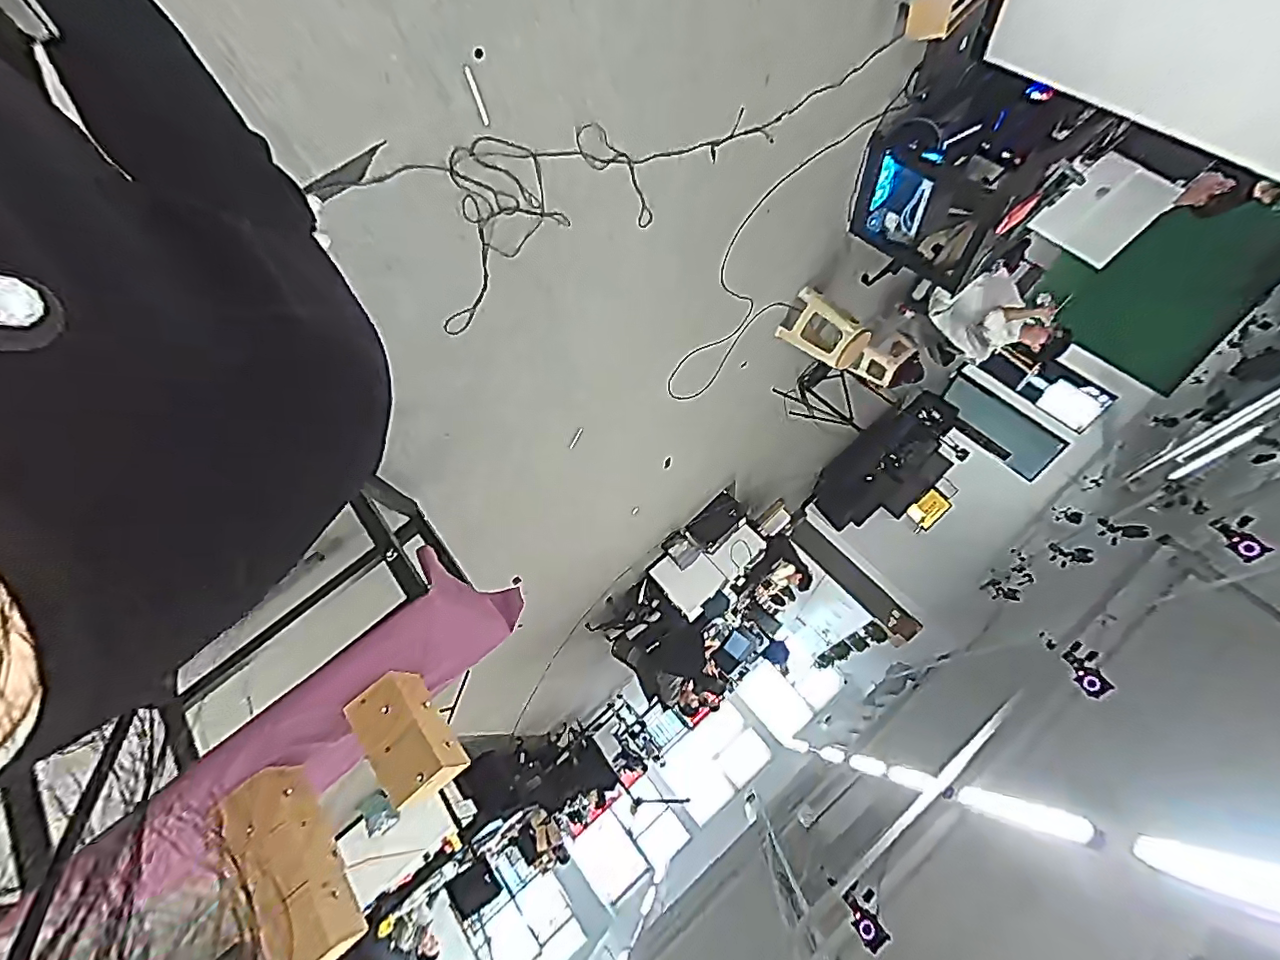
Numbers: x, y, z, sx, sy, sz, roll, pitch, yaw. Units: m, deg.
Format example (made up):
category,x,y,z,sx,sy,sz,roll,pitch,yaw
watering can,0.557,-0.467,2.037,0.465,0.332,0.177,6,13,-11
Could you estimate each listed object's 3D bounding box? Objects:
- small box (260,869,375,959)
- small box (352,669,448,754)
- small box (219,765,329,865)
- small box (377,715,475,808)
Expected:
category,x,y,z,sx,sy,sz,roll,pitch,yaw
small box,-0.832,1.153,1.388,0.179,0.176,0.168,-39,156,-11
small box,-0.722,0.693,1.626,0.168,0.176,0.179,-40,157,-9
small box,-1.033,0.930,1.525,0.179,0.176,0.168,-38,155,-11
small box,-0.618,0.805,1.568,0.168,0.176,0.179,-41,158,-8
